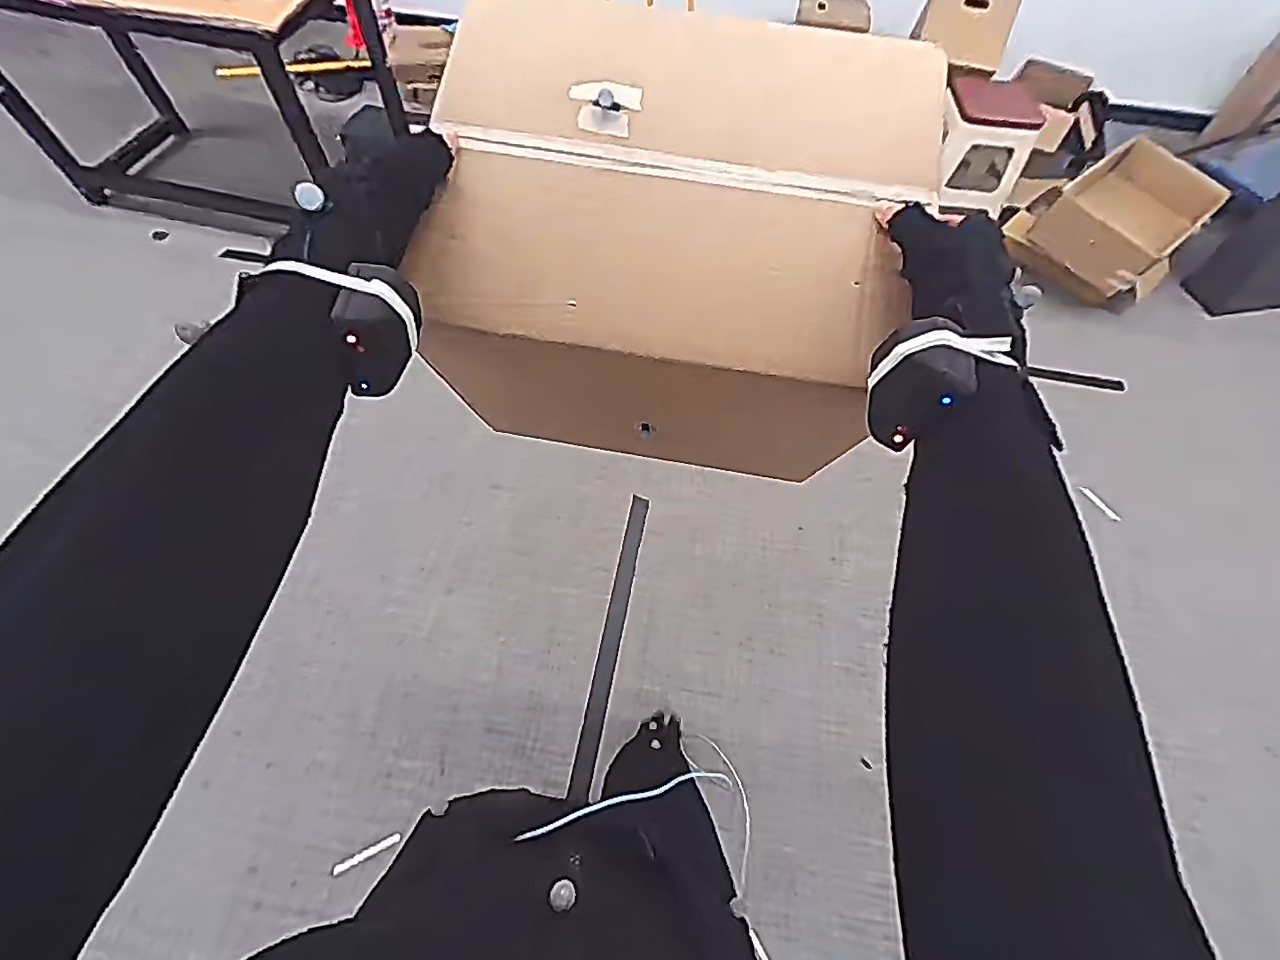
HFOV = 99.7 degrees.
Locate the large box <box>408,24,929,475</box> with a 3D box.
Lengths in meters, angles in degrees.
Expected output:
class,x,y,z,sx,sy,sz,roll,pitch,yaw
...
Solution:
class,x,y,z,sx,sy,sz,roll,pitch,yaw
large box,0.037,-0.205,0.593,0.408,0.320,0.320,9,78,3
